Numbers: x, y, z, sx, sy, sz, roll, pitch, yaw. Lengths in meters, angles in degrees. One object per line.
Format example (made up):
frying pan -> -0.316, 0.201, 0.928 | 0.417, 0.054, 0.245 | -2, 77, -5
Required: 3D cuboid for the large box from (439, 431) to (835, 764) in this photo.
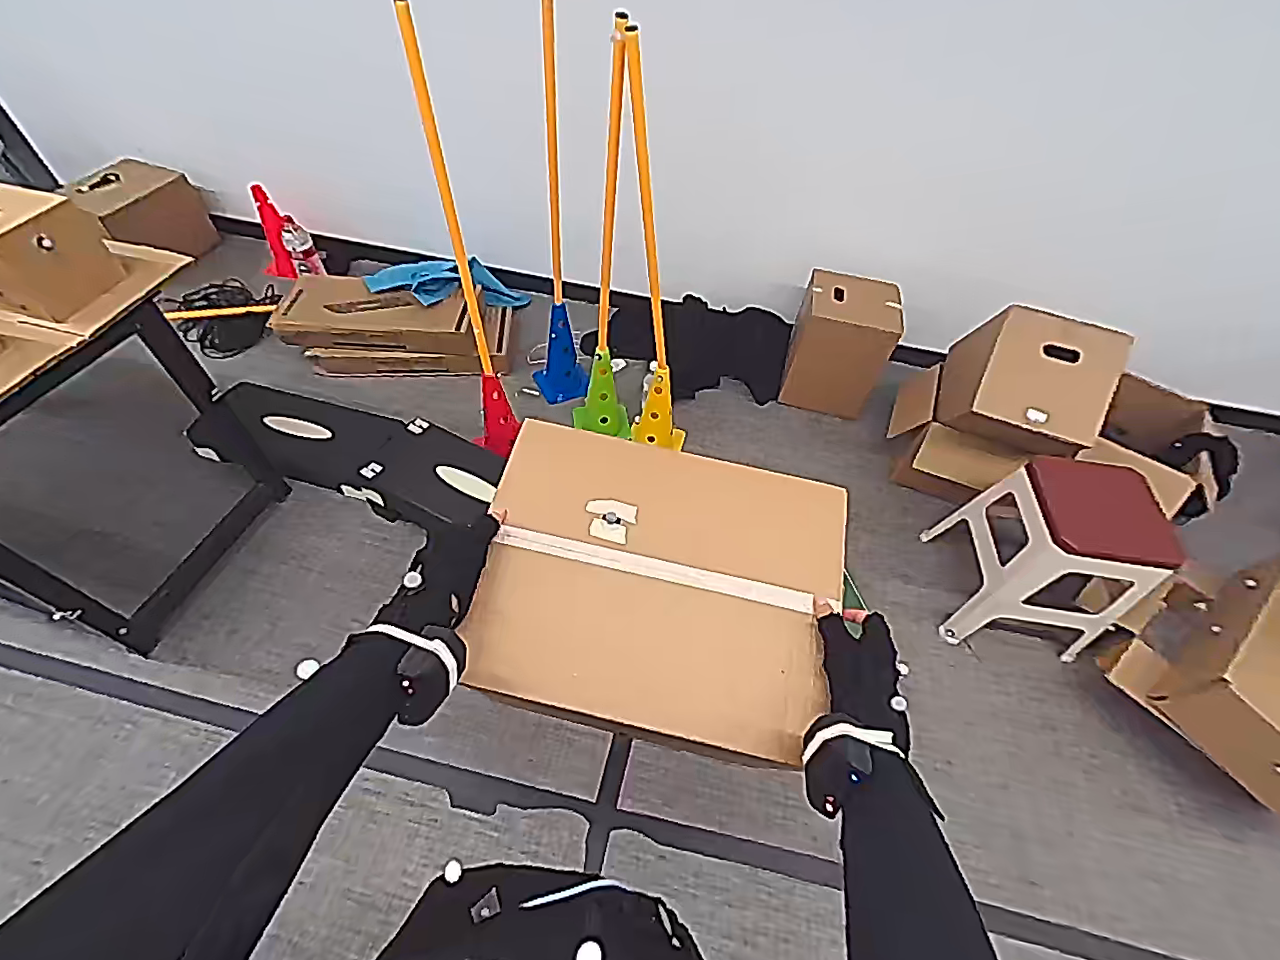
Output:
large box -> 0.012, 0.174, 0.741 | 0.408, 0.320, 0.320 | 13, 63, 3
